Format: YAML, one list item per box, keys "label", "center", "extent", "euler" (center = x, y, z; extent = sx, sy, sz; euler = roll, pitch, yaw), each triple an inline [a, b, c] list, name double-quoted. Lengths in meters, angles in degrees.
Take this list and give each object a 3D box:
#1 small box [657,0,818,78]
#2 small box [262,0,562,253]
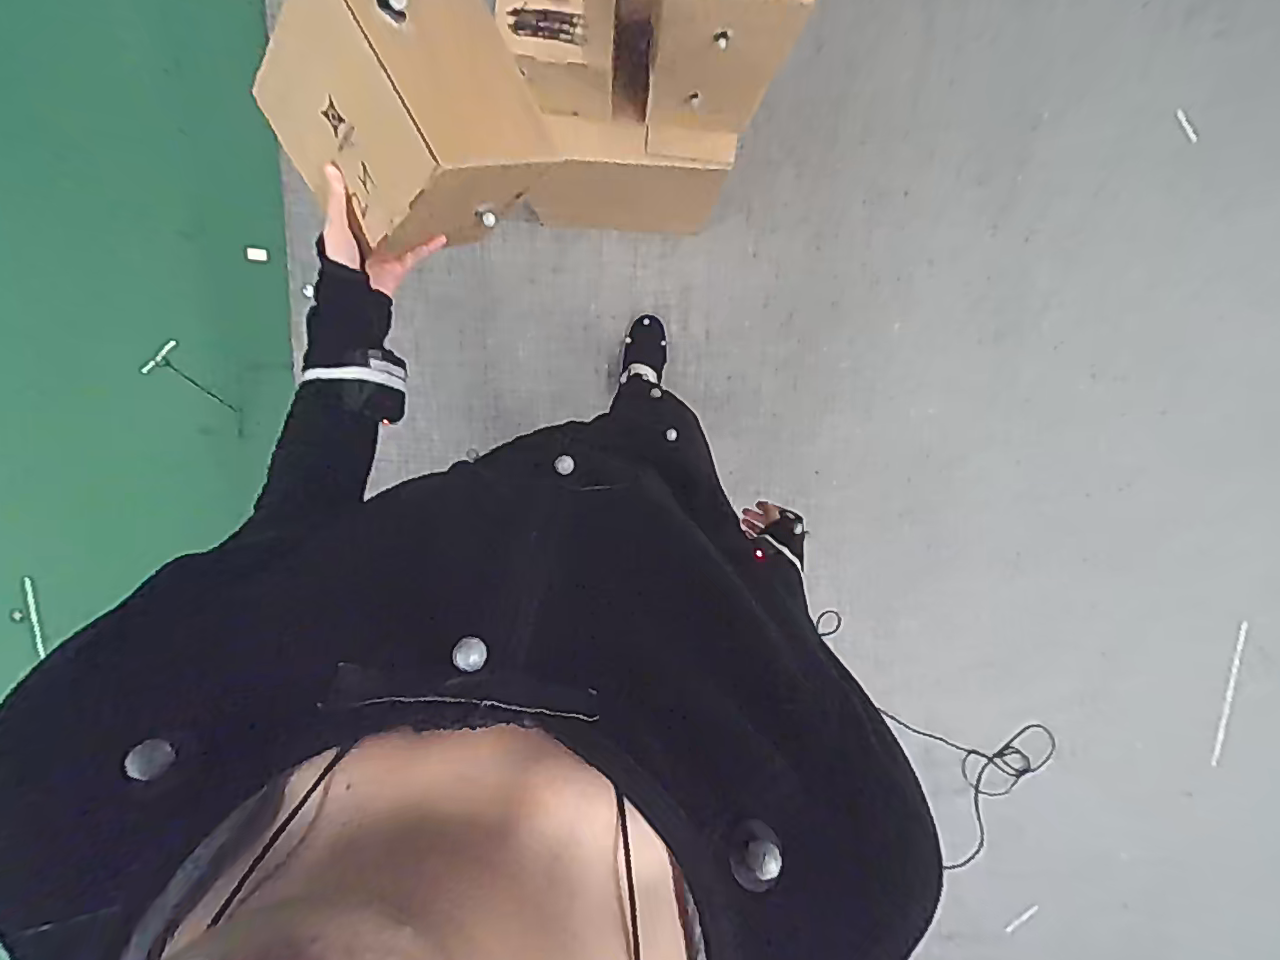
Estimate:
- label: "small box"
  center: [0.118, -0.635, 0.672]
  extent: [0.179, 0.176, 0.168]
  euler: [4, 101, -2]
- label: "small box"
  center: [-0.212, -0.352, 0.527]
  extent: [0.168, 0.176, 0.179]
  euler: [-16, 108, 41]
